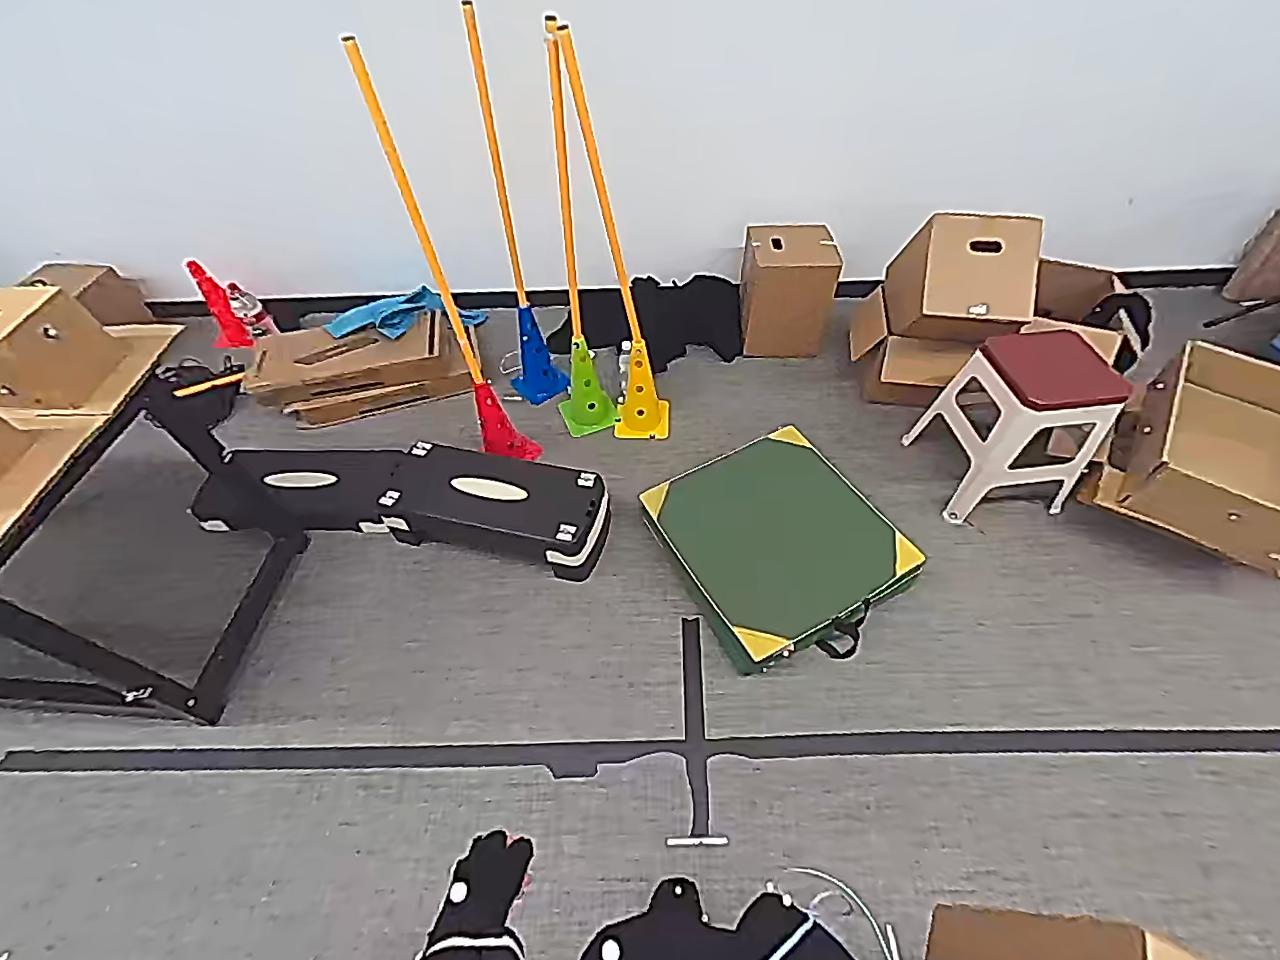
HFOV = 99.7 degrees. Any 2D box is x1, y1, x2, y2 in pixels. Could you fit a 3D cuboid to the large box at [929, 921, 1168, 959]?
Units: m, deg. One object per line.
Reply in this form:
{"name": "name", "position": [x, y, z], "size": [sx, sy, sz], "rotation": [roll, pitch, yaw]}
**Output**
{"name": "large box", "position": [0.543, 0.740, 0.575], "size": [0.320, 0.408, 0.320], "rotation": [26, 56, 15]}
